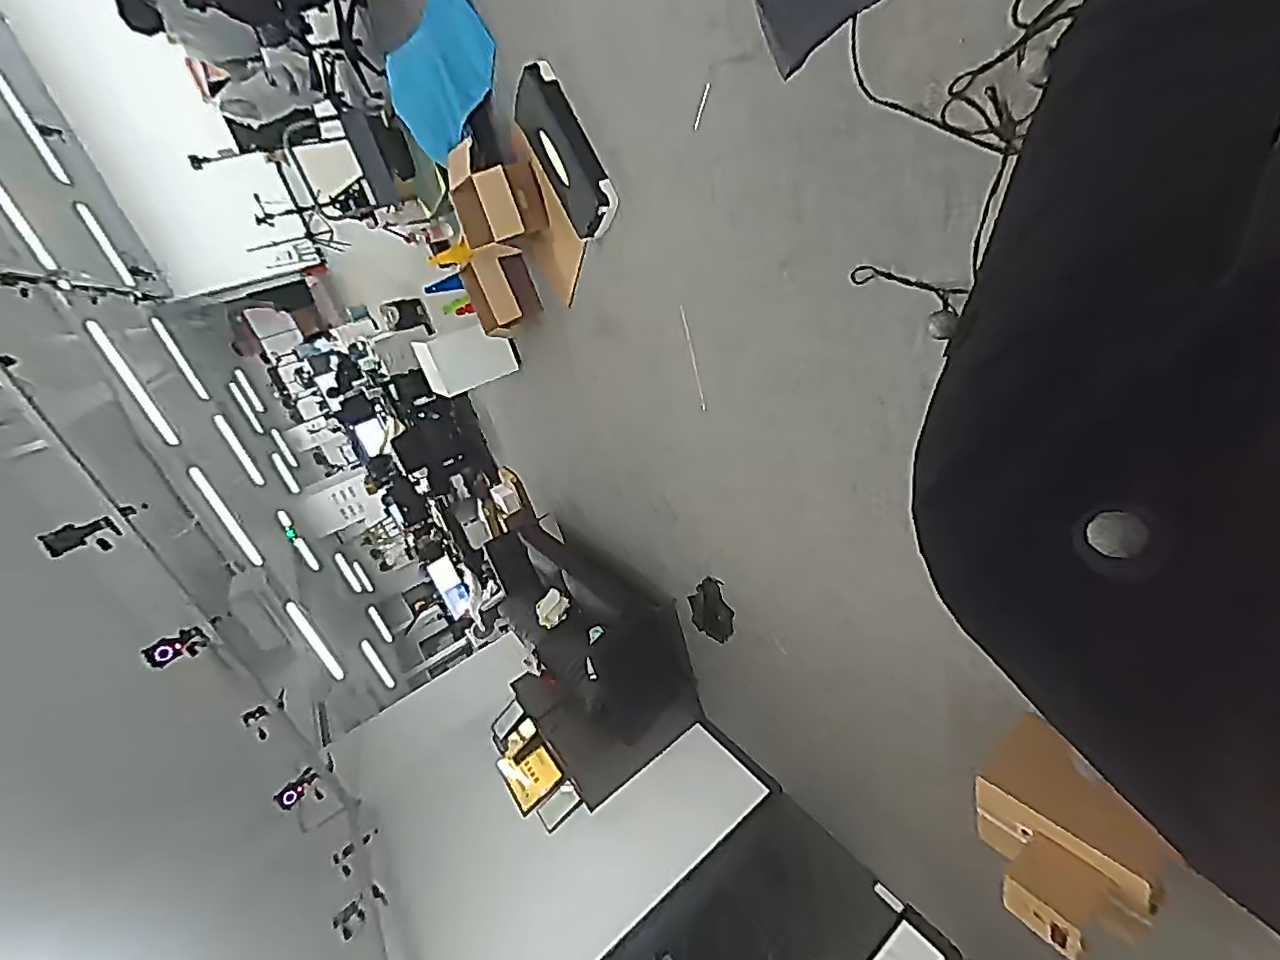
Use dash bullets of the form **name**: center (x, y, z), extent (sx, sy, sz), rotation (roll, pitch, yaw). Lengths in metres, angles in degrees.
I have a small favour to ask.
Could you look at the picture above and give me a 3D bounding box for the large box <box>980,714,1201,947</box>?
- **large box**: center (1.278, 0.976, 1.560), extent (0.408, 0.320, 0.320), rotation (23, 135, 56)
